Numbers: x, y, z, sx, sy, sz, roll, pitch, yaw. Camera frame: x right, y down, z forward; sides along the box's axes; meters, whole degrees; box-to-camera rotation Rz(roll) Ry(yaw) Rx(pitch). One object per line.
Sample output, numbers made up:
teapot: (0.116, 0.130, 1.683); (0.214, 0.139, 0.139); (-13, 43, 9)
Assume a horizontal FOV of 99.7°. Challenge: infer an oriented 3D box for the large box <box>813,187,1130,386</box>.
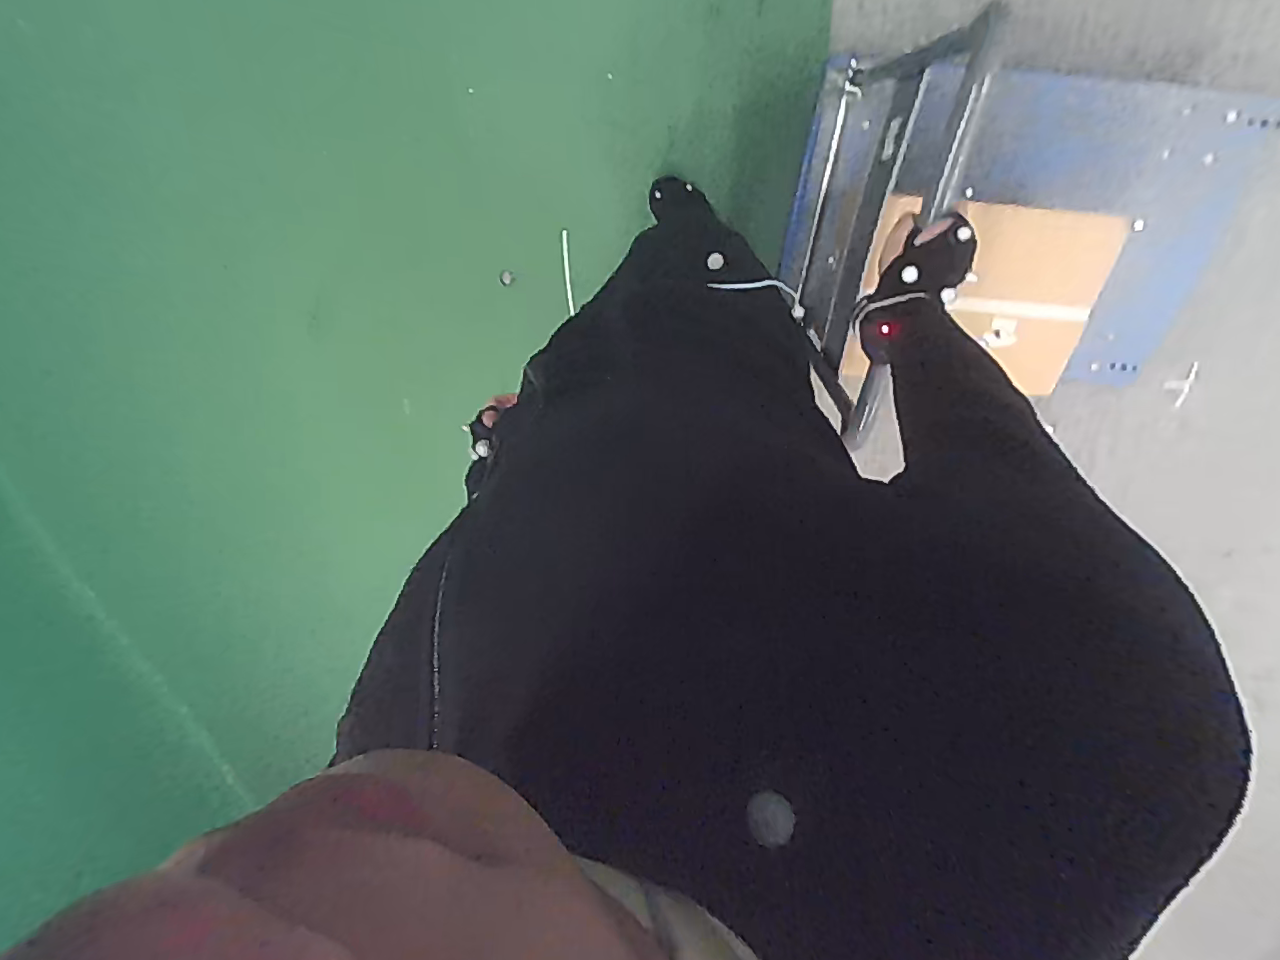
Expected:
large box: (0.600, -0.401, 1.086); (0.408, 0.320, 0.320); (7, 122, 3)
